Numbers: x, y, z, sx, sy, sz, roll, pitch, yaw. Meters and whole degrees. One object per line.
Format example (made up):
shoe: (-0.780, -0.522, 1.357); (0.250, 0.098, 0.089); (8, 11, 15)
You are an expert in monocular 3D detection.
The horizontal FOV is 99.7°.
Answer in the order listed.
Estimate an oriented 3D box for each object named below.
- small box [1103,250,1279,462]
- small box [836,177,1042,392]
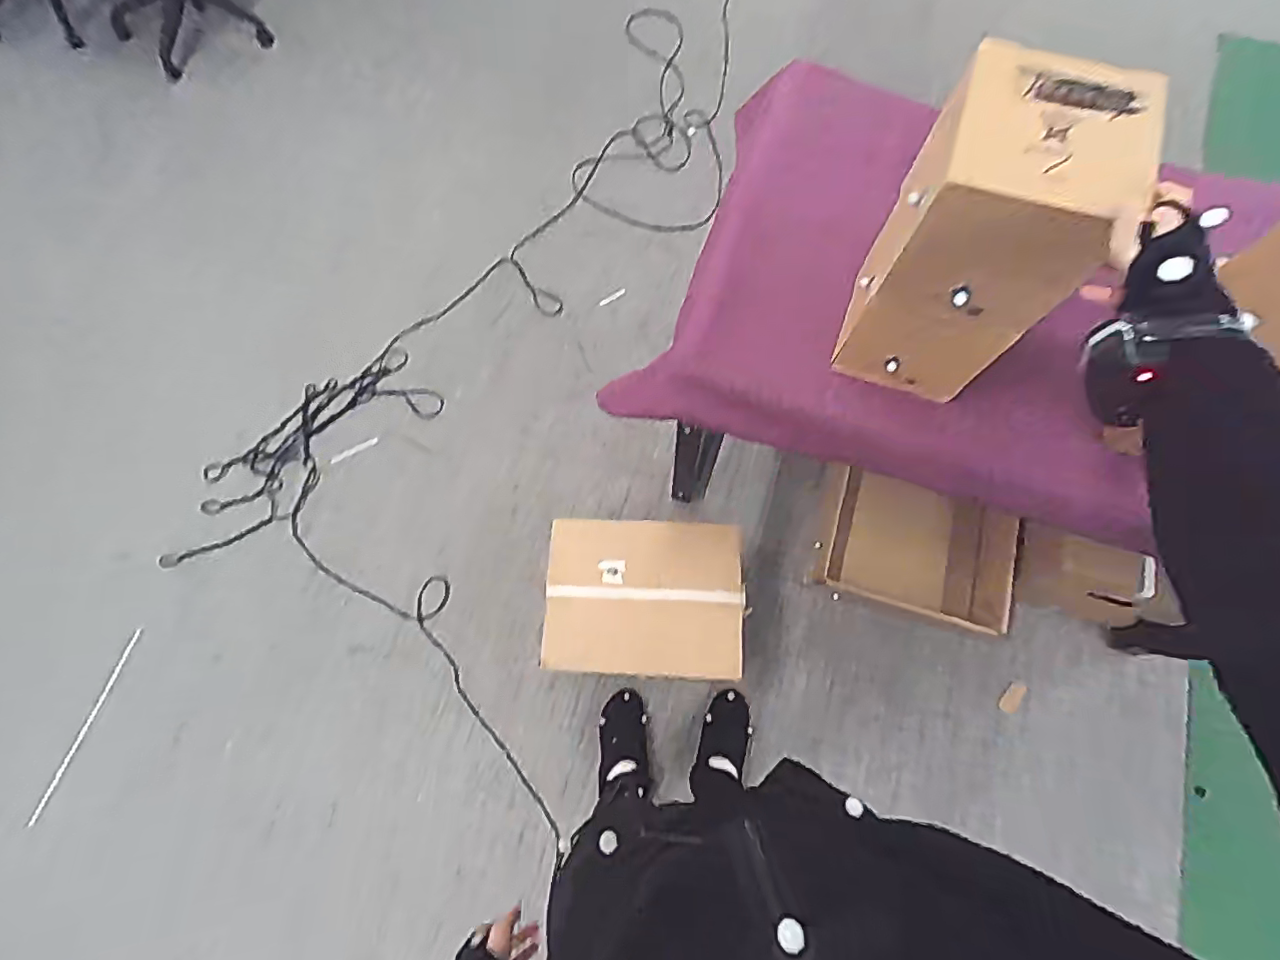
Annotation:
small box: (0.712, -0.139, 0.658); (0.168, 0.176, 0.179); (14, 73, 7)
small box: (0.377, -0.246, 0.708); (0.168, 0.176, 0.179); (19, 75, 8)
